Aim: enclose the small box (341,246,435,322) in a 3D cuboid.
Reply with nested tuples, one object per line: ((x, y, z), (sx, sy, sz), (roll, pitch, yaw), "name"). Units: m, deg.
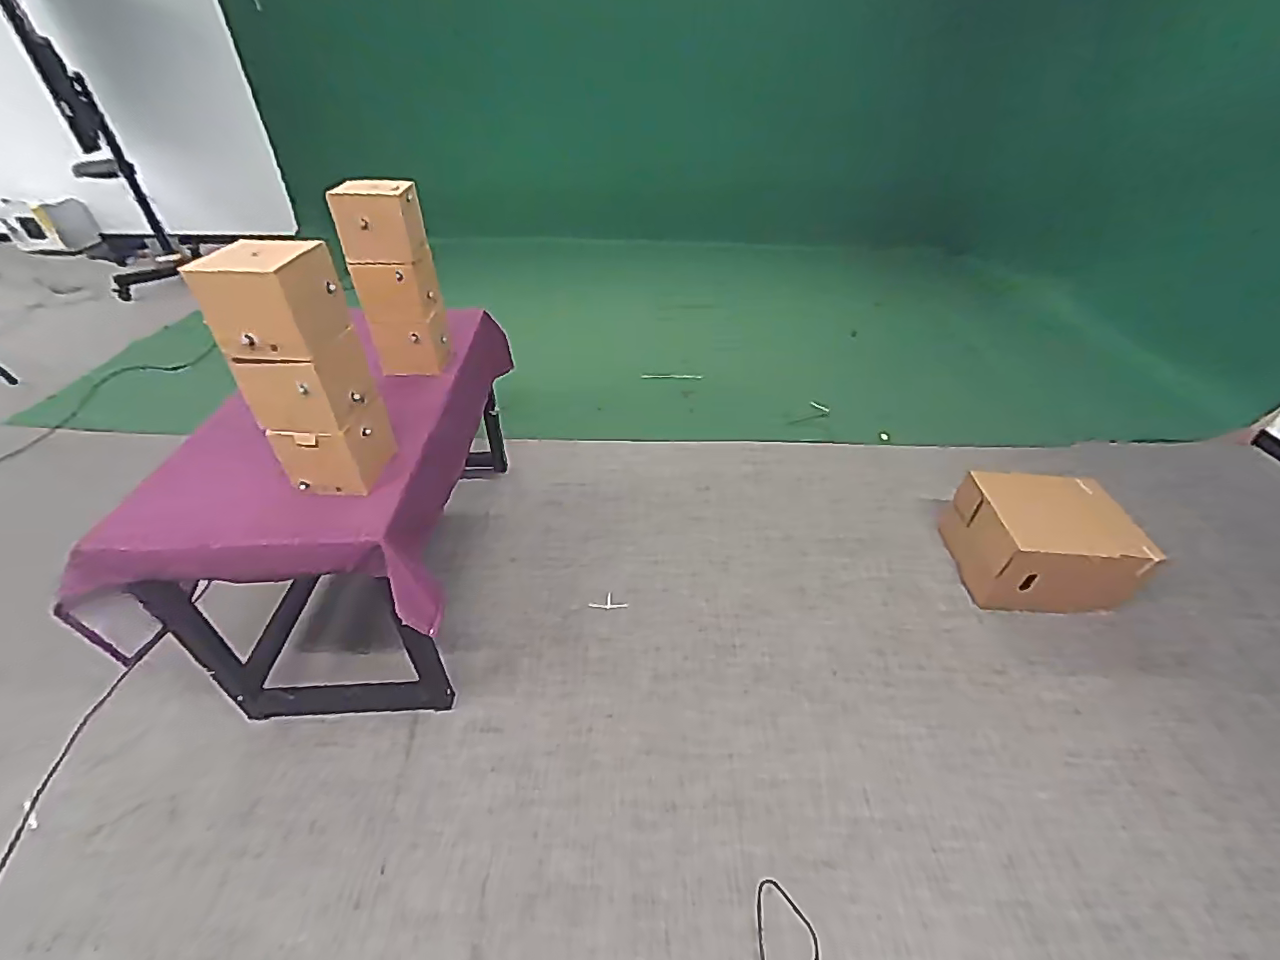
((-0.707, -0.560, 1.537), (0.179, 0.176, 0.168), (1, 40, -2), "small box")

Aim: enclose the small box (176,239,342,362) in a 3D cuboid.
((-0.689, -0.336, 1.008), (0.168, 0.176, 0.179), (1, 40, 1), "small box")

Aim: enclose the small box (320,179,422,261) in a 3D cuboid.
((-0.702, -0.687, 1.433), (0.179, 0.176, 0.168), (-2, 40, -4), "small box")

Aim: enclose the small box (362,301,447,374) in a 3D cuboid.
((-0.702, -0.431, 1.637), (0.179, 0.176, 0.168), (-1, 39, -1), "small box")

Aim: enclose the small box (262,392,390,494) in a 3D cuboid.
((-0.689, -0.082, 1.215), (0.168, 0.176, 0.179), (1, 39, 0), "small box")
